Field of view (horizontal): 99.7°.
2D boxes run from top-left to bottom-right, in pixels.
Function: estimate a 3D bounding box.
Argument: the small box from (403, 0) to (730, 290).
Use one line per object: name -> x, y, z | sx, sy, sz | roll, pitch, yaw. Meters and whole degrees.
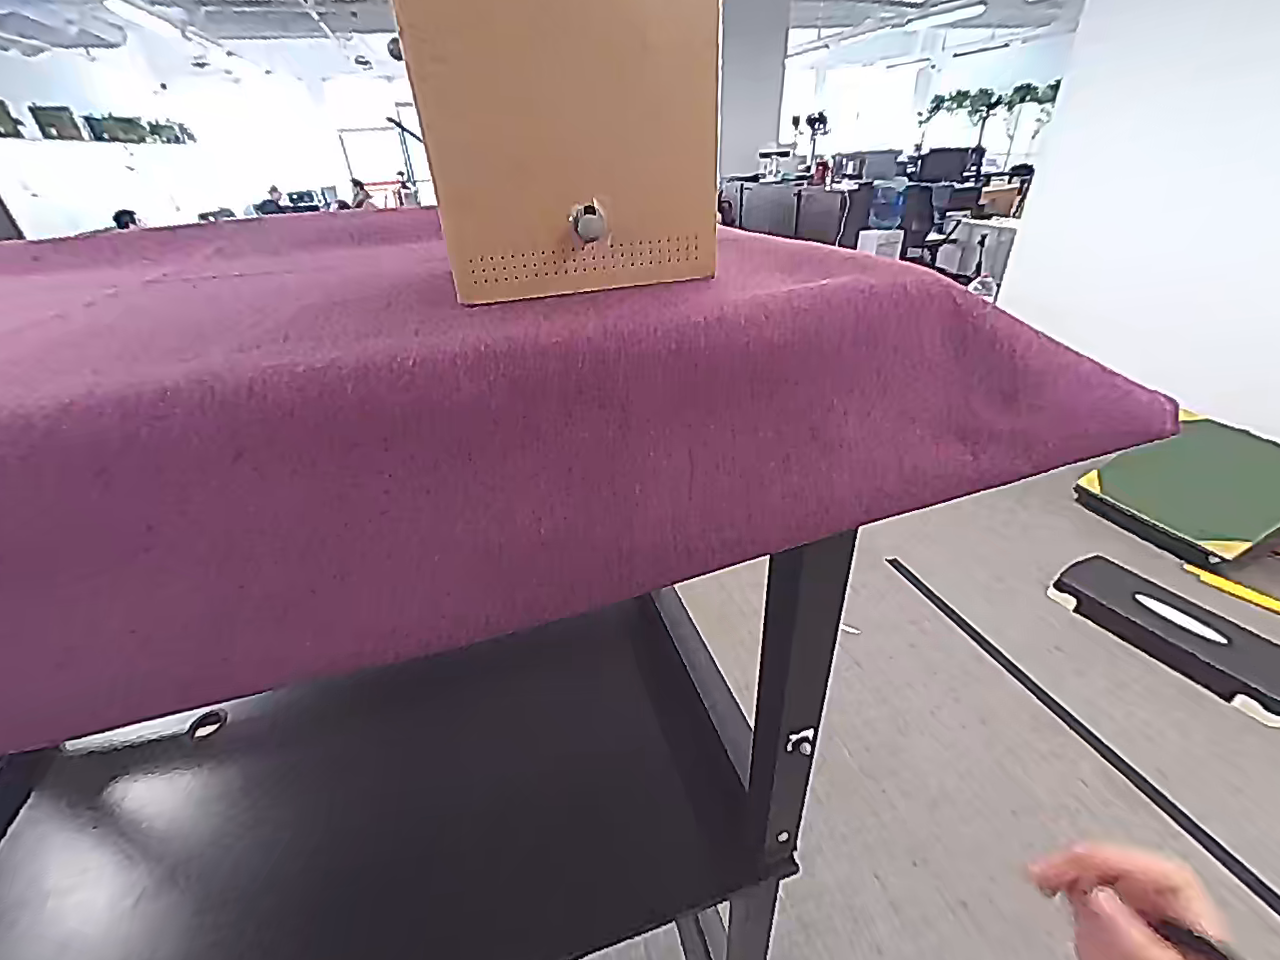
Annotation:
small box -> -0.050, -0.241, 0.380 | 0.179, 0.176, 0.168 | -10, 31, -11
